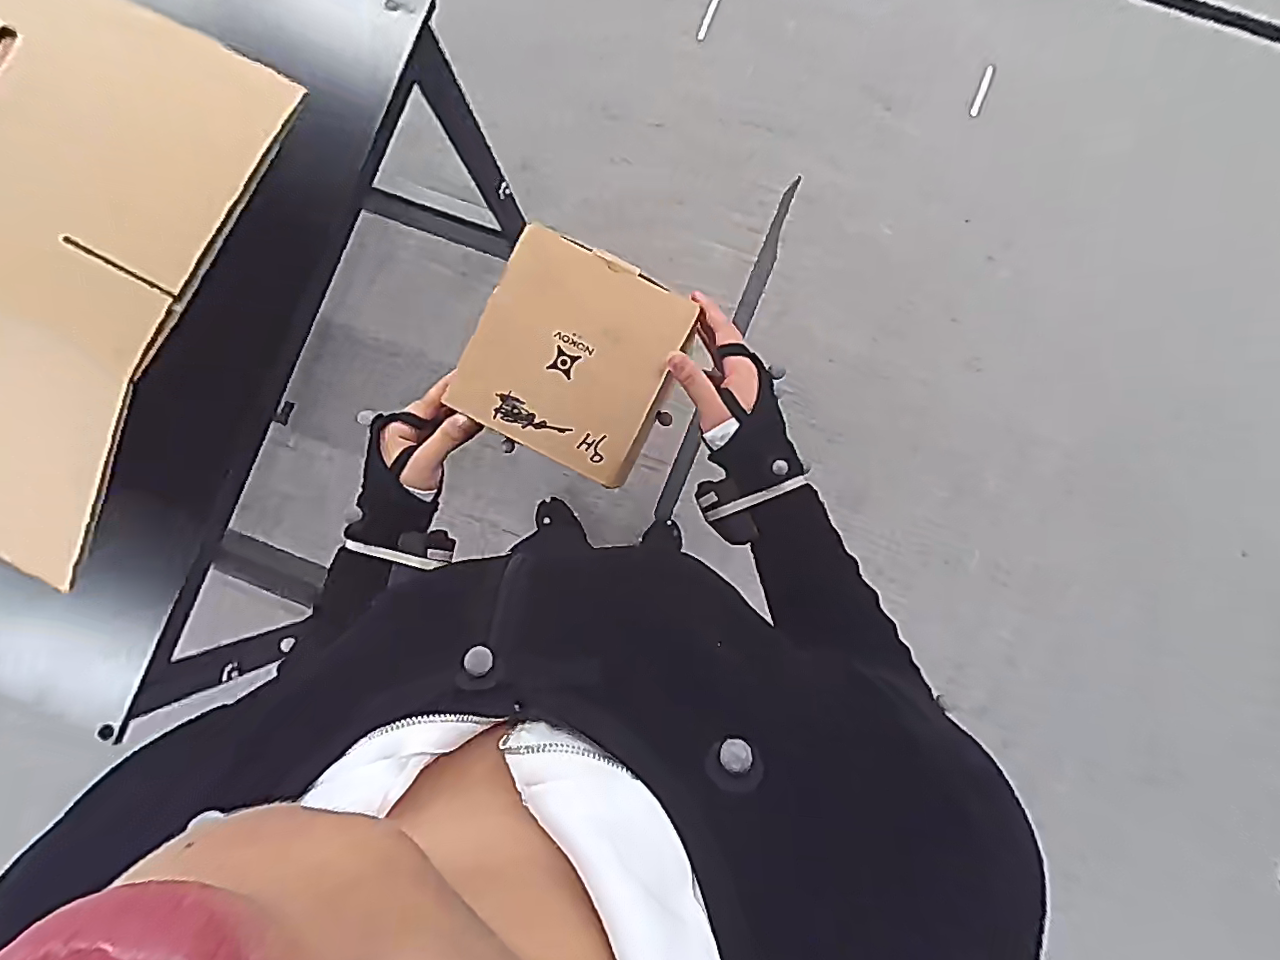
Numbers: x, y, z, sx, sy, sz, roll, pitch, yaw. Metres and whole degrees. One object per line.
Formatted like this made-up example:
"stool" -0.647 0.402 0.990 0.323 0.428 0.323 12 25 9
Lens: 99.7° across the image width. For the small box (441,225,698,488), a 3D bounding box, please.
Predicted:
"small box" -0.060 -0.105 0.539 0.168 0.176 0.179 27 90 2
